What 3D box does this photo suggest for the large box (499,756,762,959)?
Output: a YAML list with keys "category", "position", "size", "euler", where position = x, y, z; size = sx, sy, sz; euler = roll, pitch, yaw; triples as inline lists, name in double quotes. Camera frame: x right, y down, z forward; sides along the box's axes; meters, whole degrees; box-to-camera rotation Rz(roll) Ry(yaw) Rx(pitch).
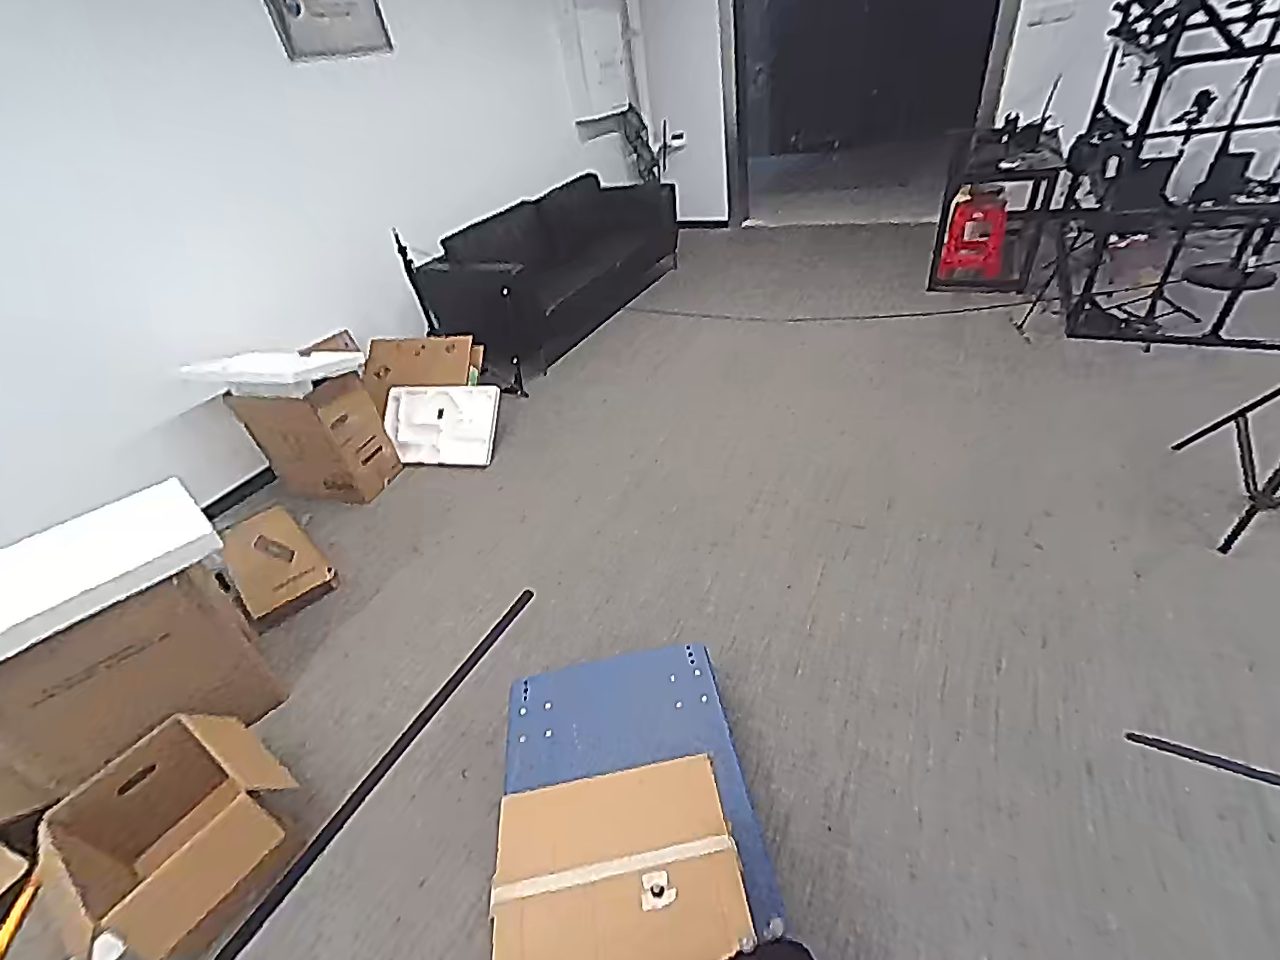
- category: "large box"
  position: [-0.020, 0.774, 0.992]
  size: [0.408, 0.320, 0.320]
  euler: [-11, 37, -3]
